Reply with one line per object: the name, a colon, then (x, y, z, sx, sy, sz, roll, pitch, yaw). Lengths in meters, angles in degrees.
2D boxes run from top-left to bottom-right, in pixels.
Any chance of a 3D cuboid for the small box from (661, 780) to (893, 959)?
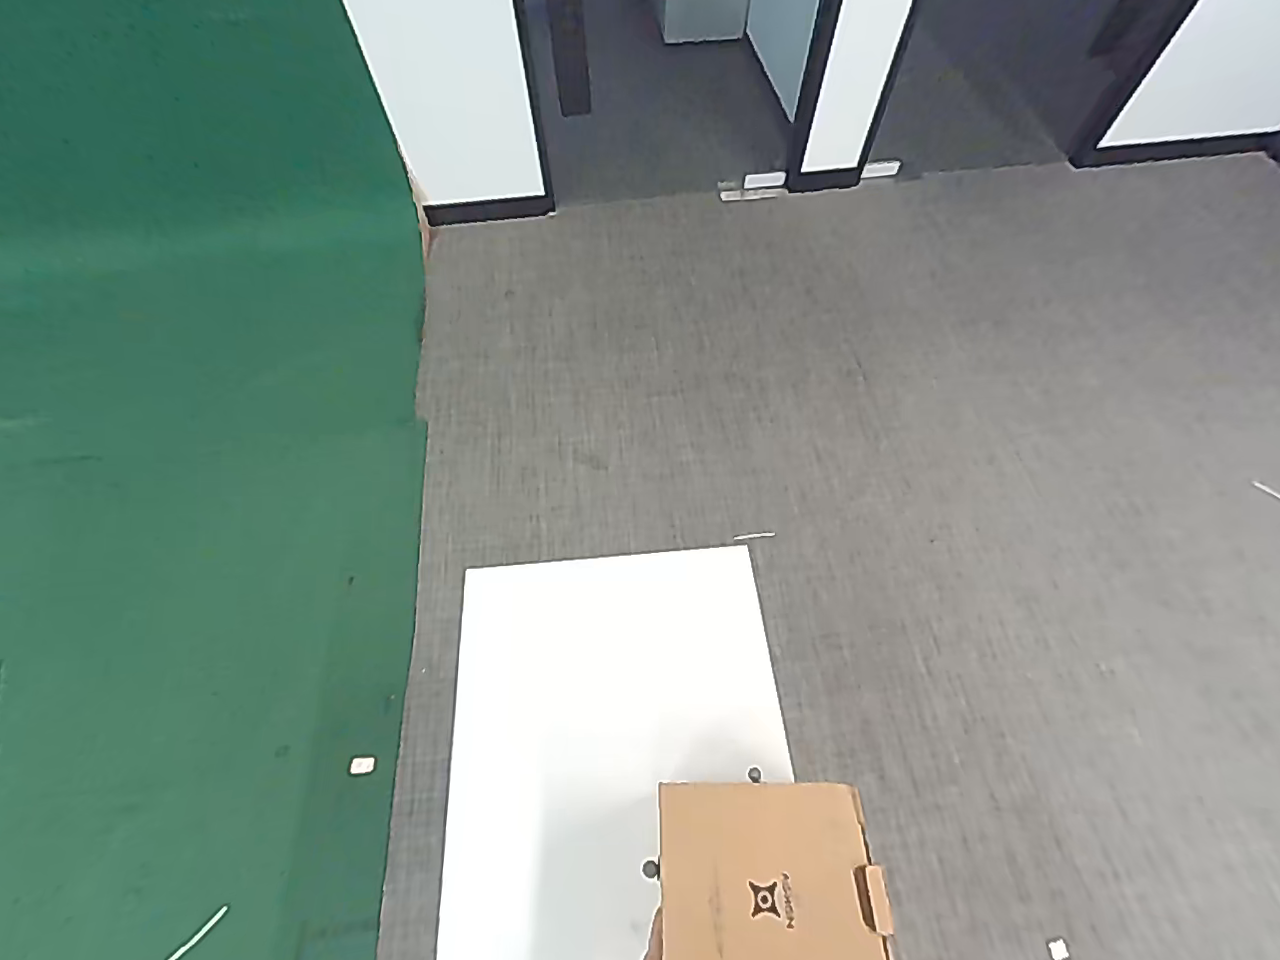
small box: (0.109, 0.377, 0.502, 0.179, 0.176, 0.168, -2, 57, 2)
